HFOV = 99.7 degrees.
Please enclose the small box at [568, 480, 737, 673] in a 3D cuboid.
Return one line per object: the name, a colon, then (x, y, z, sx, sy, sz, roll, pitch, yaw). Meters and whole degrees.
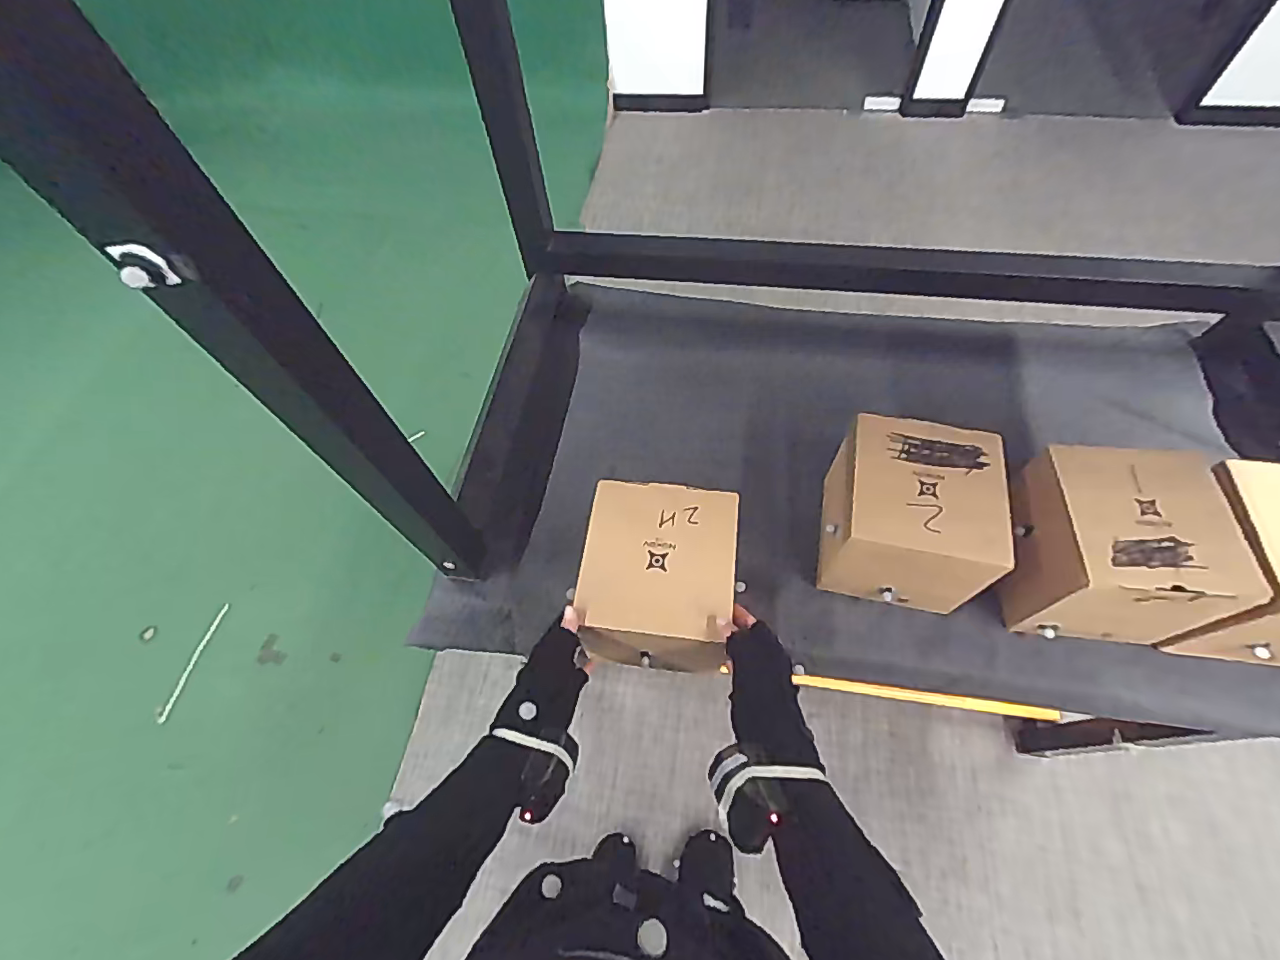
small box: (0.022, 0.122, 0.650, 0.168, 0.176, 0.179, 5, 59, 6)
